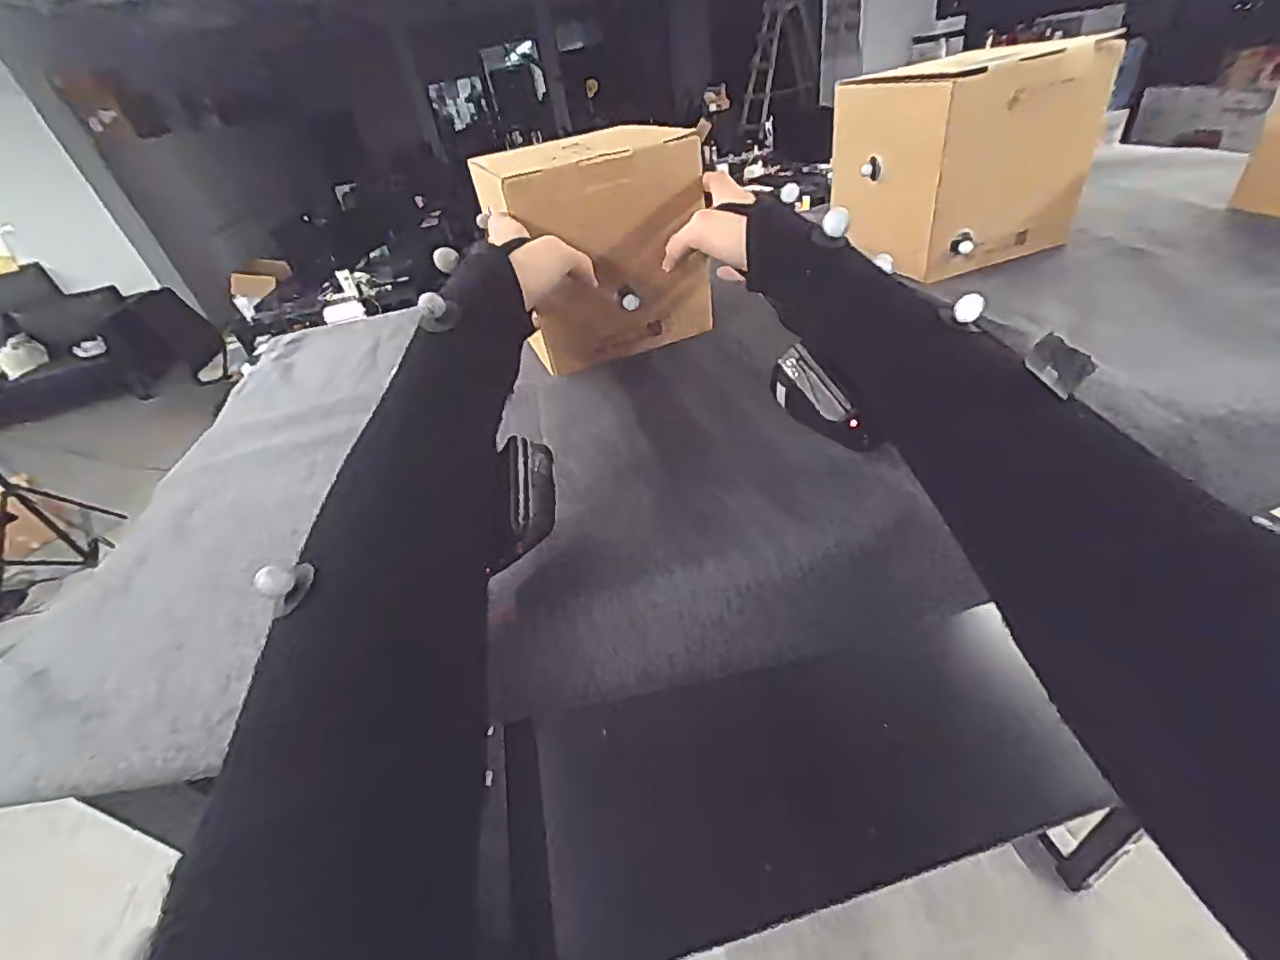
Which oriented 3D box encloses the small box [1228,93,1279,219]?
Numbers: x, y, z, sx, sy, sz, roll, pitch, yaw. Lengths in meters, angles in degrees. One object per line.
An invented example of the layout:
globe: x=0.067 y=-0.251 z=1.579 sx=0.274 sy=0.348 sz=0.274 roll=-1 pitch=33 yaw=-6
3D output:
small box: x=0.668 y=-0.308 z=0.440 sx=0.168 sy=0.176 sz=0.179 roll=-13 pitch=37 yaw=-1

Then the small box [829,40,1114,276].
small box: x=0.315 y=-0.325 z=0.559 sx=0.168 sy=0.176 sz=0.179 roll=-17 pitch=37 yaw=-7

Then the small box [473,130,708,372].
small box: x=-0.047 y=-0.225 z=0.525 sx=0.168 sy=0.176 sz=0.179 roll=-21 pitch=37 yaw=-12
